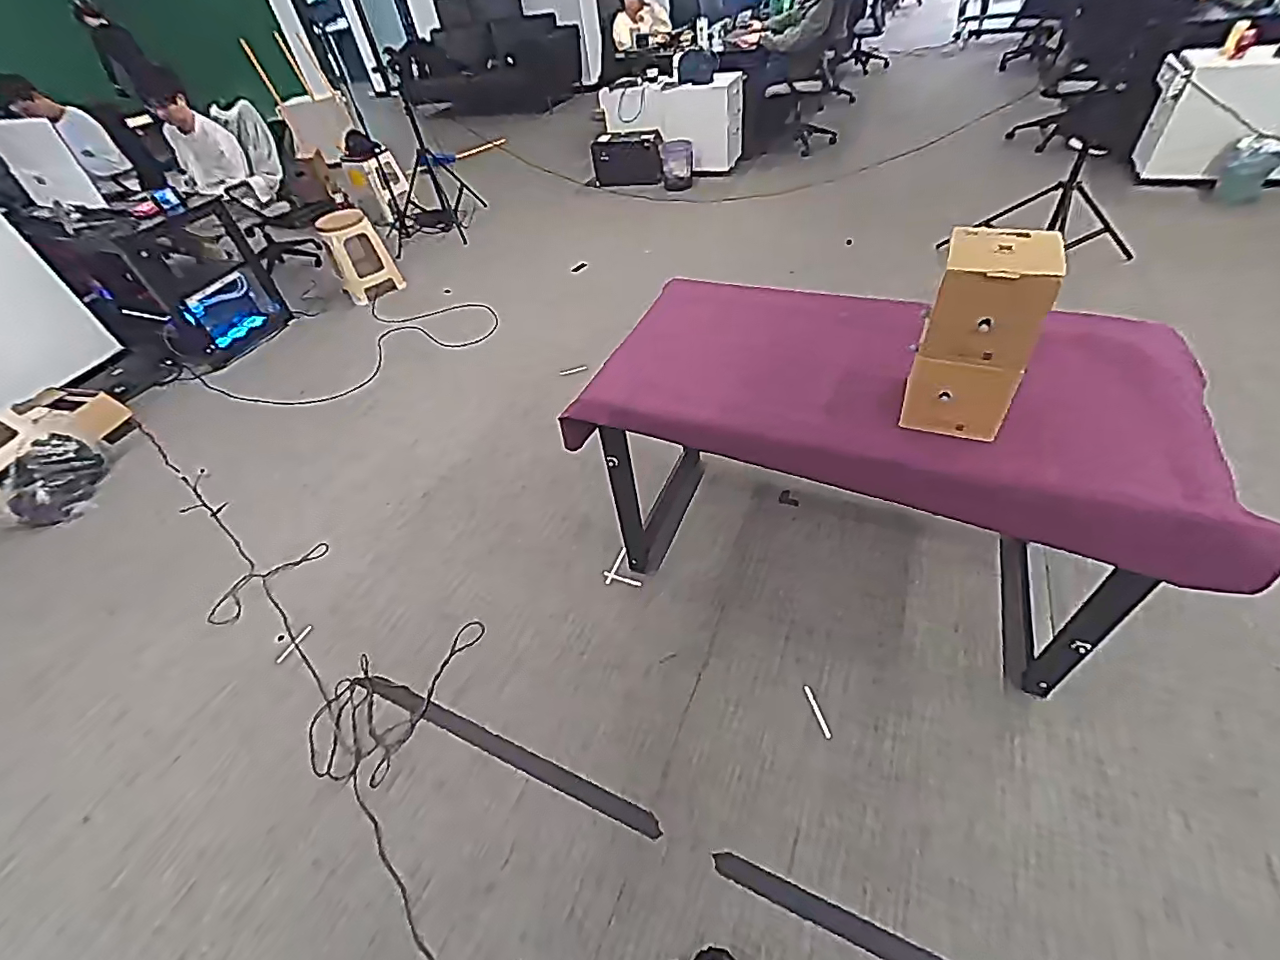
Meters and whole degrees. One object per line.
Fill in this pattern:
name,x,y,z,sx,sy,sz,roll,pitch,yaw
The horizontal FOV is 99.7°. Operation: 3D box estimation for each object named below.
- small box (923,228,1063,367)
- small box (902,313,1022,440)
small box,0.608,-0.318,0.944,0.168,0.176,0.179,15,50,22
small box,0.625,-0.201,1.058,0.168,0.176,0.179,14,49,22
